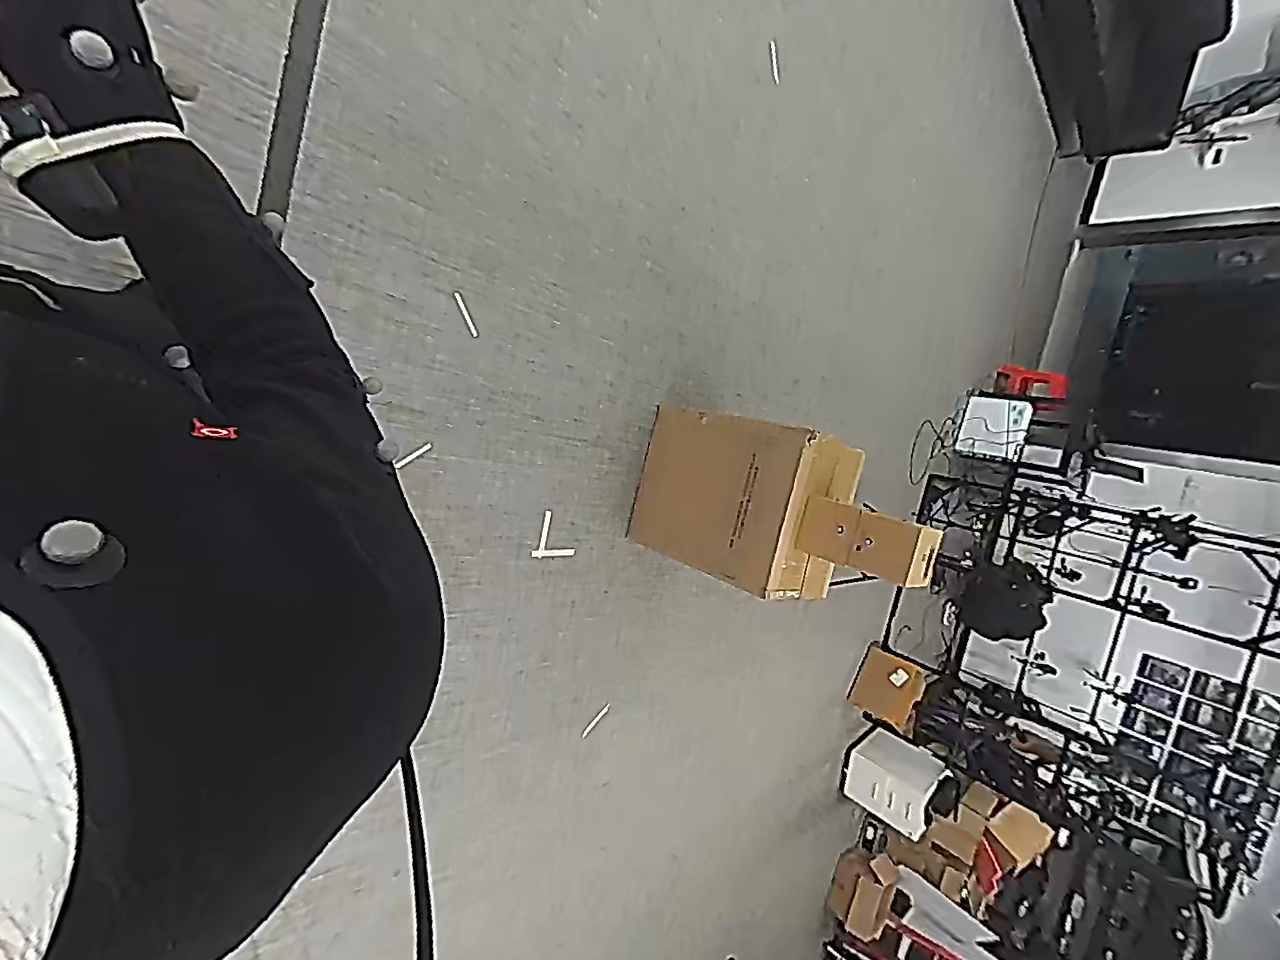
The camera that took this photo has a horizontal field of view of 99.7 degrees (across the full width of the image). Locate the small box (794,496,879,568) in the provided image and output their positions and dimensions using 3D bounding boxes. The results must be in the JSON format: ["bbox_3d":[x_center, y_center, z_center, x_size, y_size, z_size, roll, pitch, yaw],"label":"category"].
[{"bbox_3d":[0.590,0.154,1.633,0.168,0.176,0.179,11,96,-45],"label":"small box"}]
